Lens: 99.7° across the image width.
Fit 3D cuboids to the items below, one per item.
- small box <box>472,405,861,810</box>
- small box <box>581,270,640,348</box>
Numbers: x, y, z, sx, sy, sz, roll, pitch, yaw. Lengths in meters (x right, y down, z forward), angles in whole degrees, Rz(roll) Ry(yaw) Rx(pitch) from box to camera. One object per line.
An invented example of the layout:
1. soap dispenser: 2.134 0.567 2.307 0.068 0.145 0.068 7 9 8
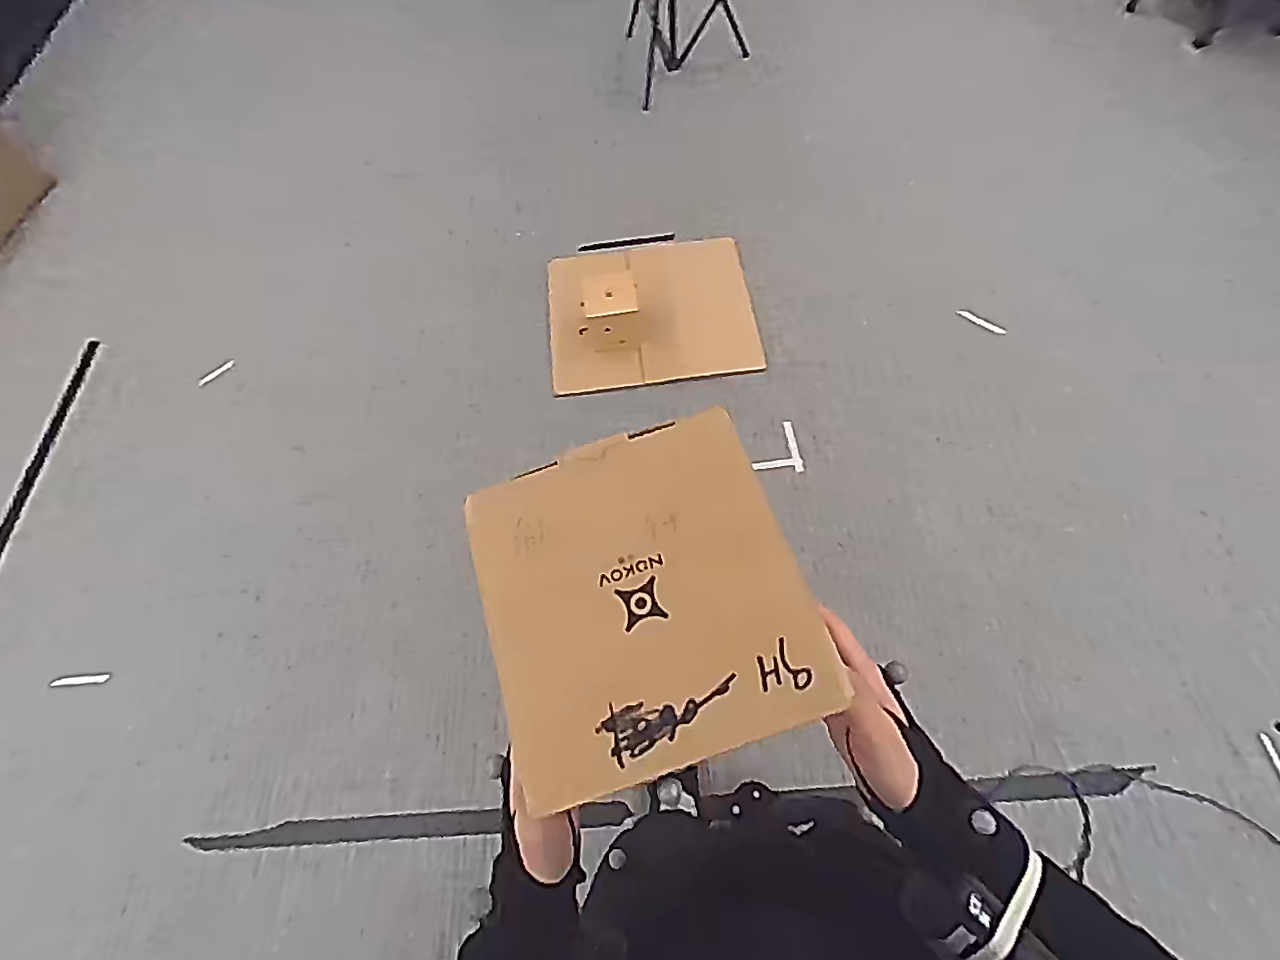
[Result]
1. small box: 0.012 0.086 0.356 0.168 0.176 0.179 -20 66 1
2. small box: -0.094 -0.549 1.769 0.168 0.176 0.179 -9 64 0
